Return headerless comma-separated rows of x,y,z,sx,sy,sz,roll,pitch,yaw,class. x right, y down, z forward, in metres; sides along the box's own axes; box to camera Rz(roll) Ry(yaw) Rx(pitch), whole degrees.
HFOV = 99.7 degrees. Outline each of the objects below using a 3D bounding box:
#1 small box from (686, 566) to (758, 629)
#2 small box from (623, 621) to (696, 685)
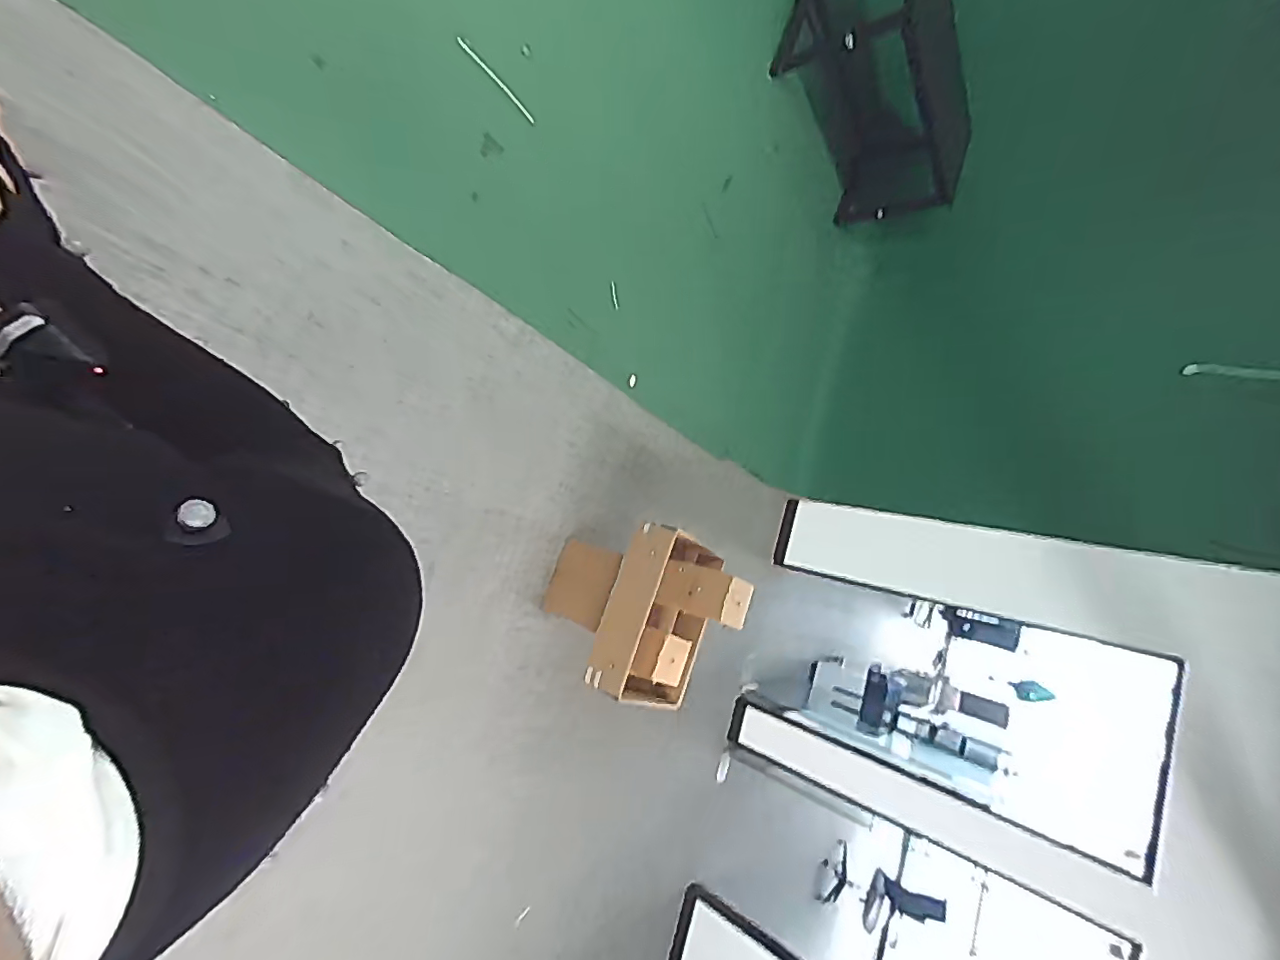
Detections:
0.296,0.419,1.947,0.179,0.176,0.168,33,72,-47,small box
0.071,0.634,1.986,0.179,0.176,0.168,35,71,-45,small box
